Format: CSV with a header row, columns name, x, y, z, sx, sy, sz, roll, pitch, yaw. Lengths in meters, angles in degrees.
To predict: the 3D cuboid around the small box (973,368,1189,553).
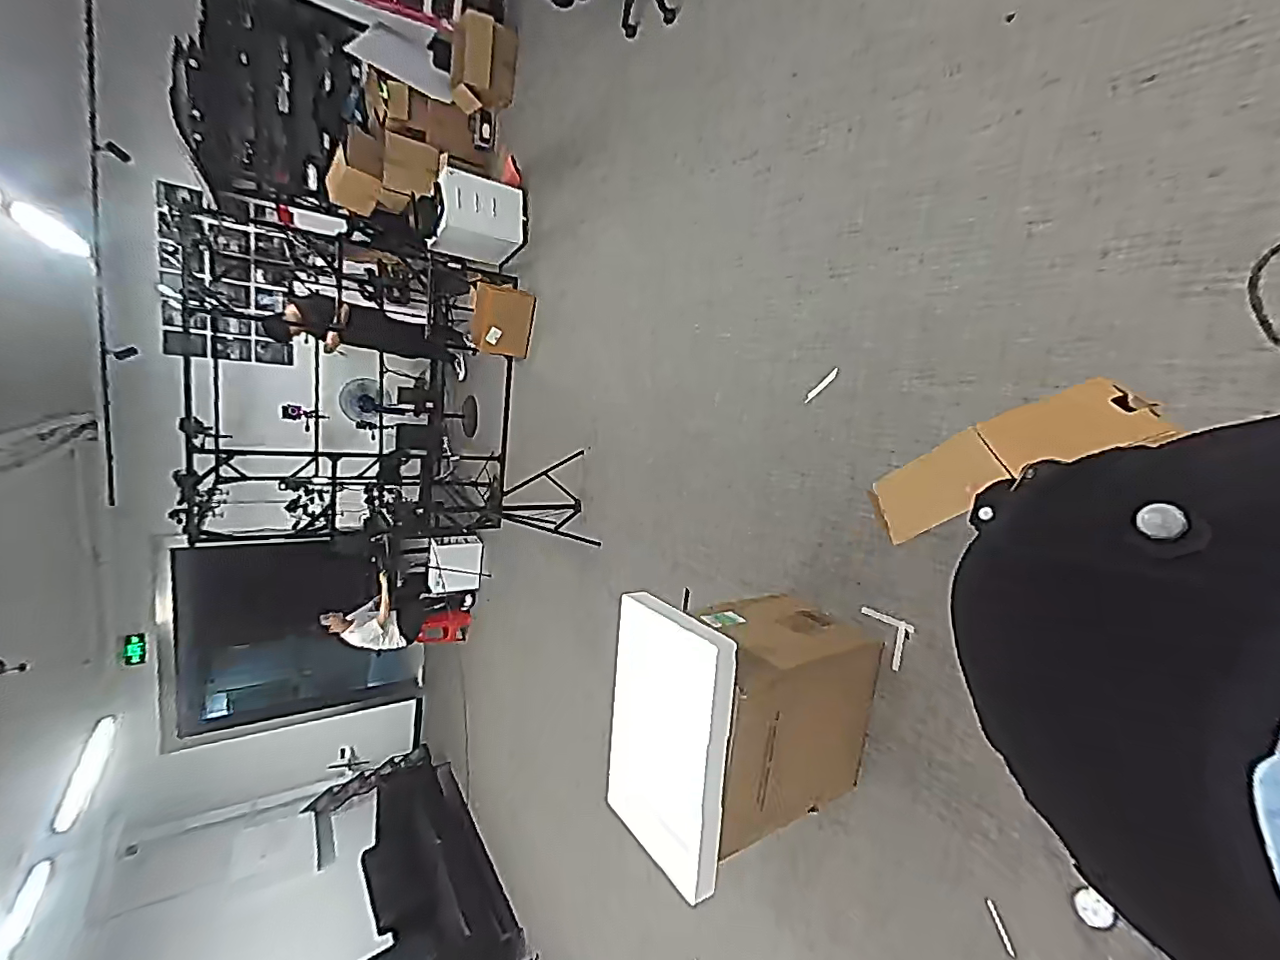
name,x,y,z,sx,sy,sz,roll,pitch,yaw
small box,0.617,-0.023,0.767,0.179,0.176,0.168,-25,27,24
